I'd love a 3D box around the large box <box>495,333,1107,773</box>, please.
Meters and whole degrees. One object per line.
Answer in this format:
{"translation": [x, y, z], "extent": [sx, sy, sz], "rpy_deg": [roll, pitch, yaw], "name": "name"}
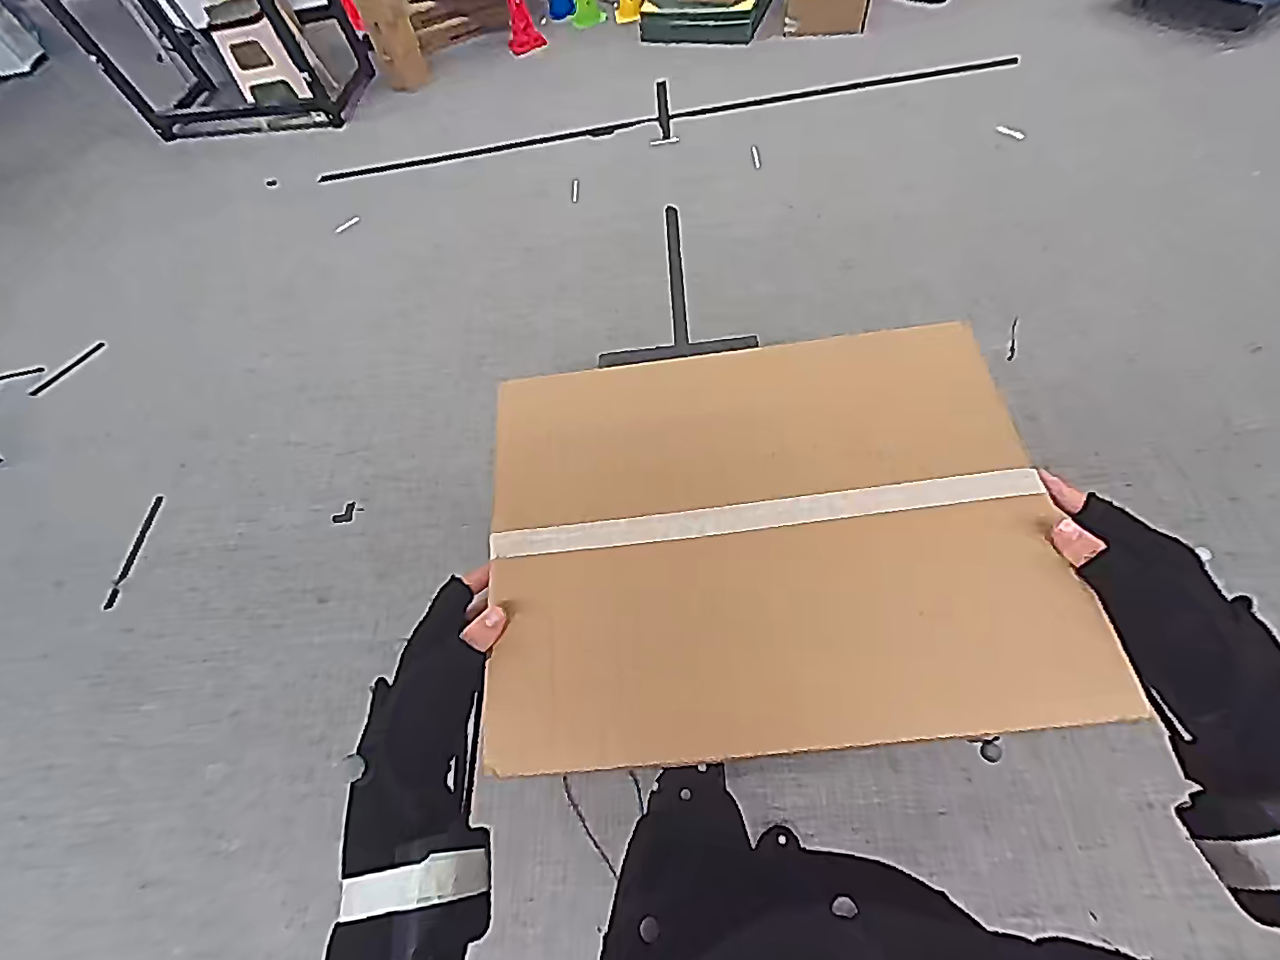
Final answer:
{"translation": [0.102, 0.096, 0.546], "extent": [0.408, 0.320, 0.320], "rpy_deg": [-7, 62, 3], "name": "large box"}
